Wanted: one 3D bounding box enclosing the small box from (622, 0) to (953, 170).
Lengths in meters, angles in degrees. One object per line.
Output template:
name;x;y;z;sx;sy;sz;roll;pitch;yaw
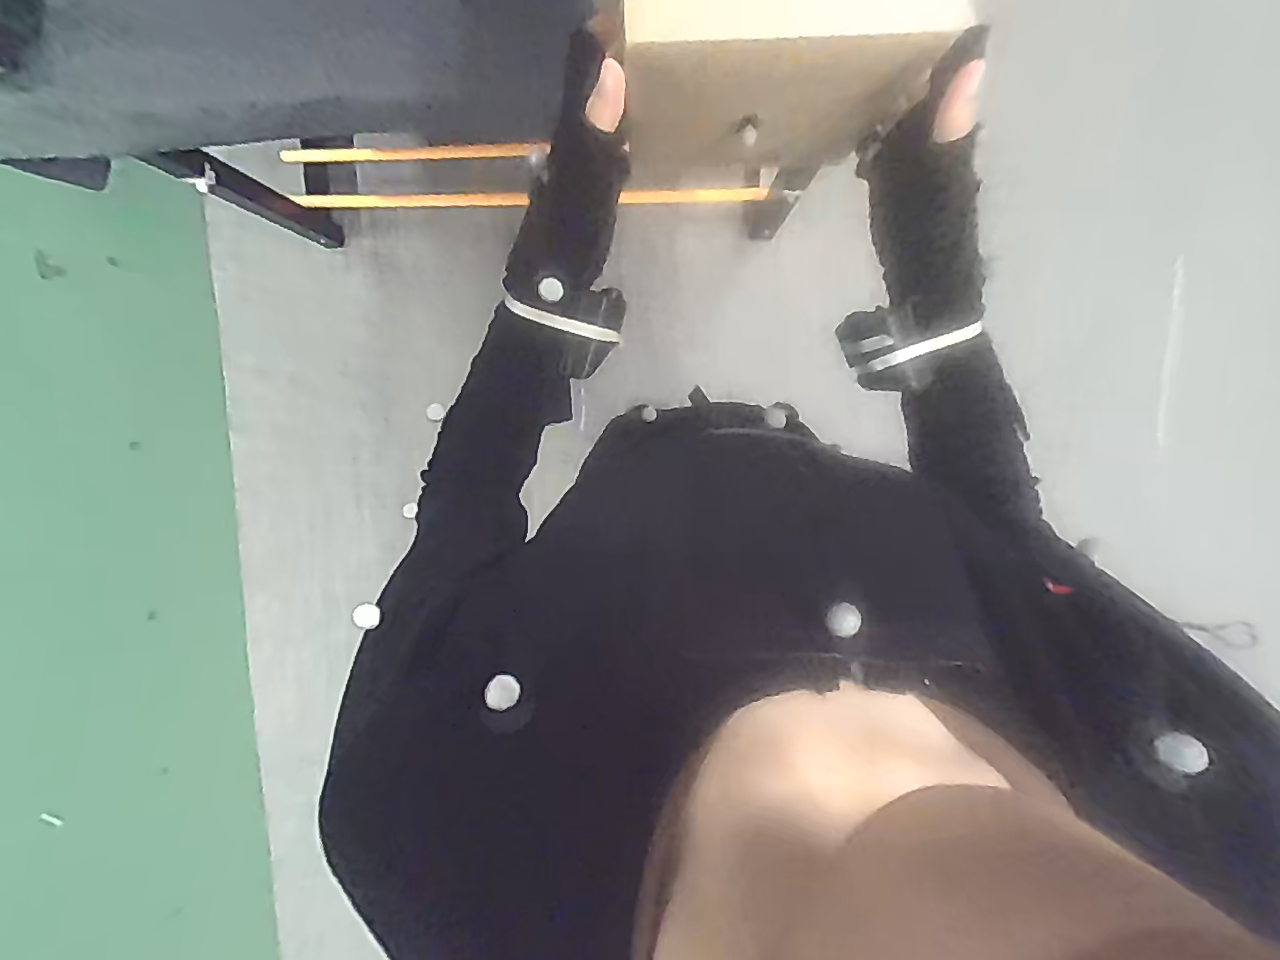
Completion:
small box;0.073;-0.312;0.335;0.168;0.176;0.179;-2;99;0
